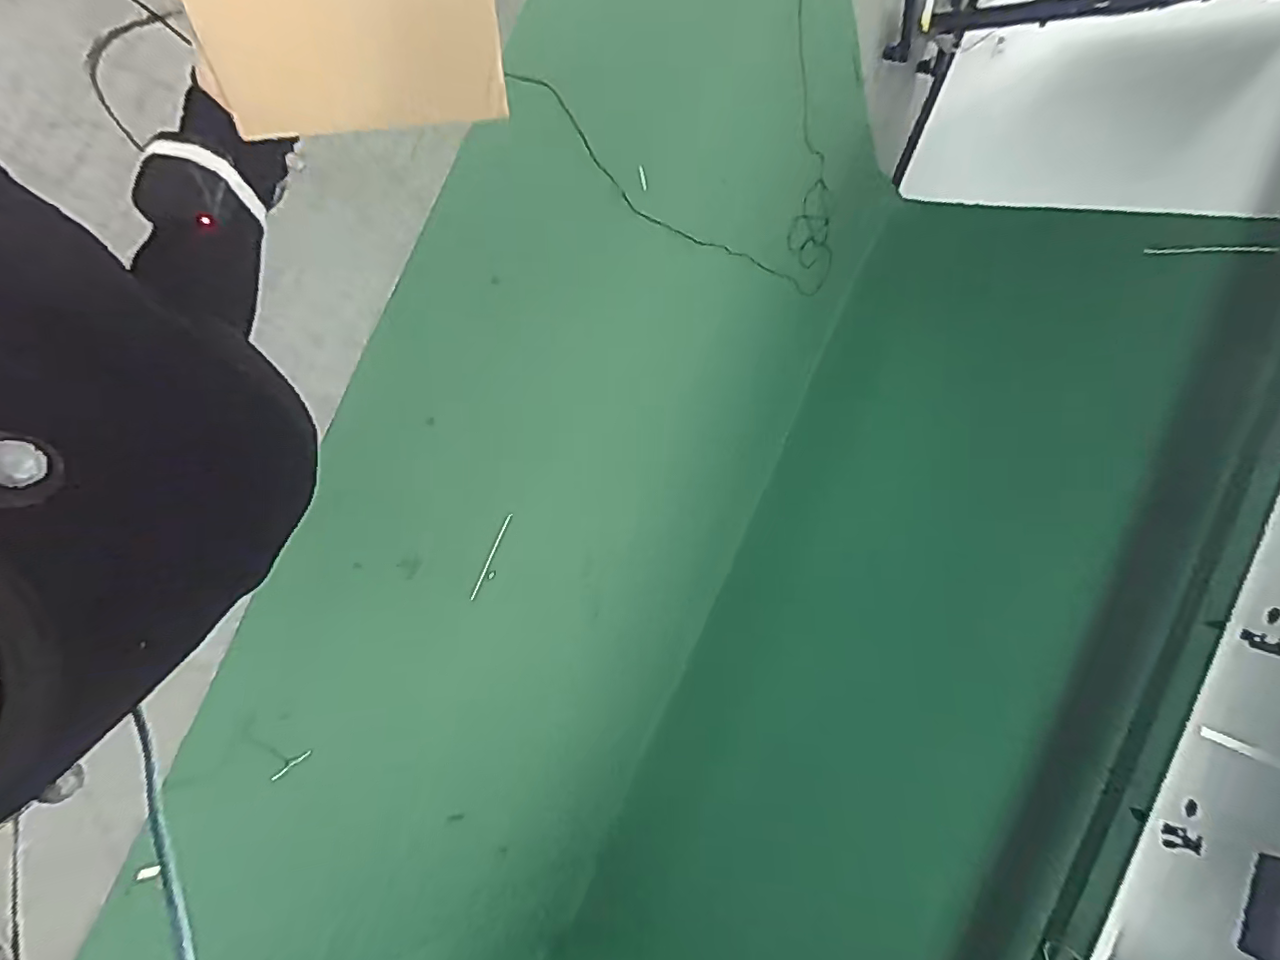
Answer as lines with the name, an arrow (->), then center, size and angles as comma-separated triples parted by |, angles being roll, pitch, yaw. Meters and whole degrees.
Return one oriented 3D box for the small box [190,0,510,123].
small box -> -0.191, -0.349, 0.336 | 0.168, 0.179, 0.176 | -16, 140, -14
